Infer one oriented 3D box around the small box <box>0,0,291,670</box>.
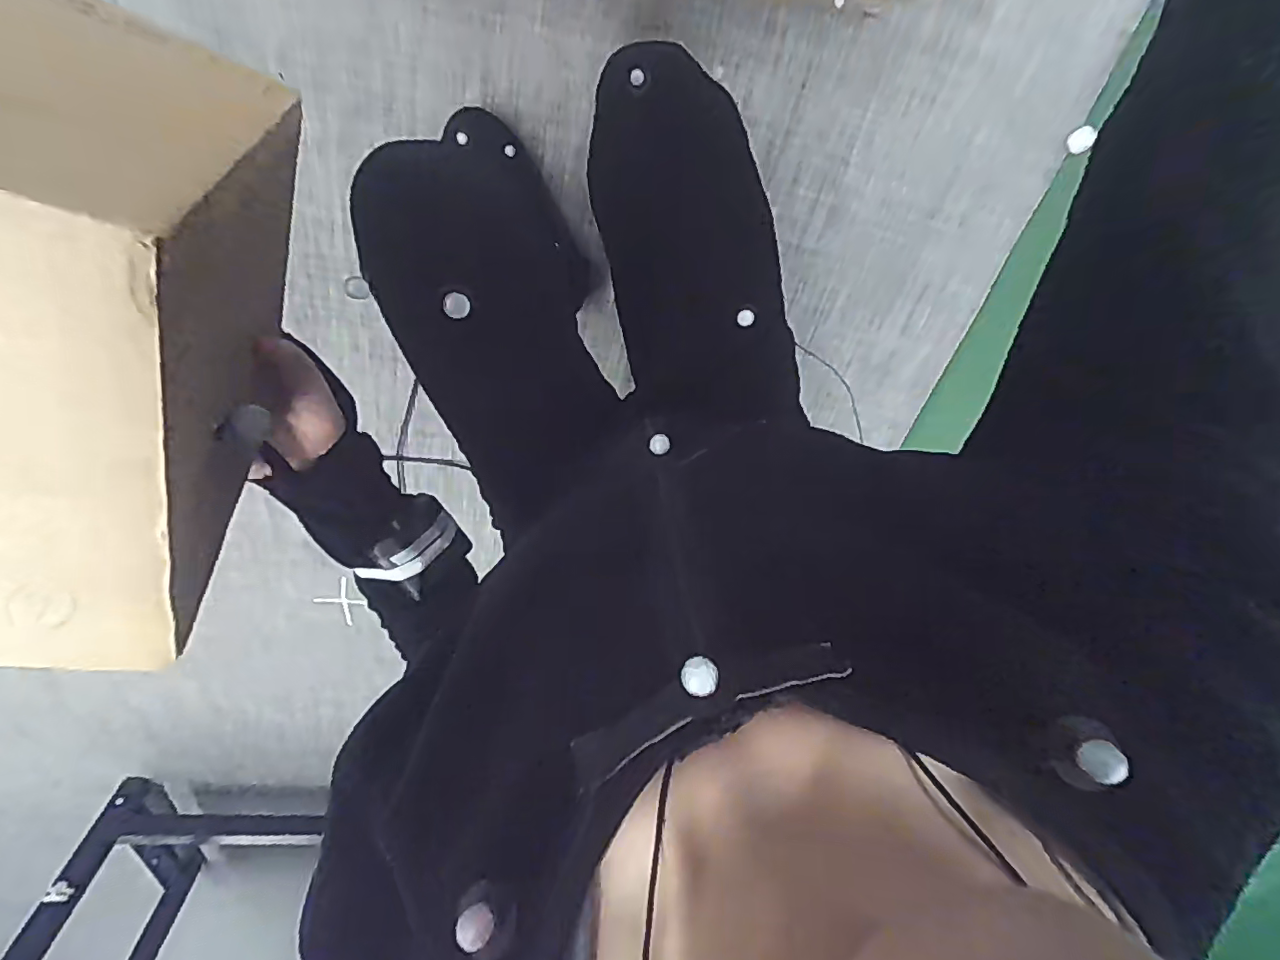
[{"bbox_3d":[-0.226,-0.063,0.168,0.168,0.176,0.179,12,127,-29],"label":"small box"}]
